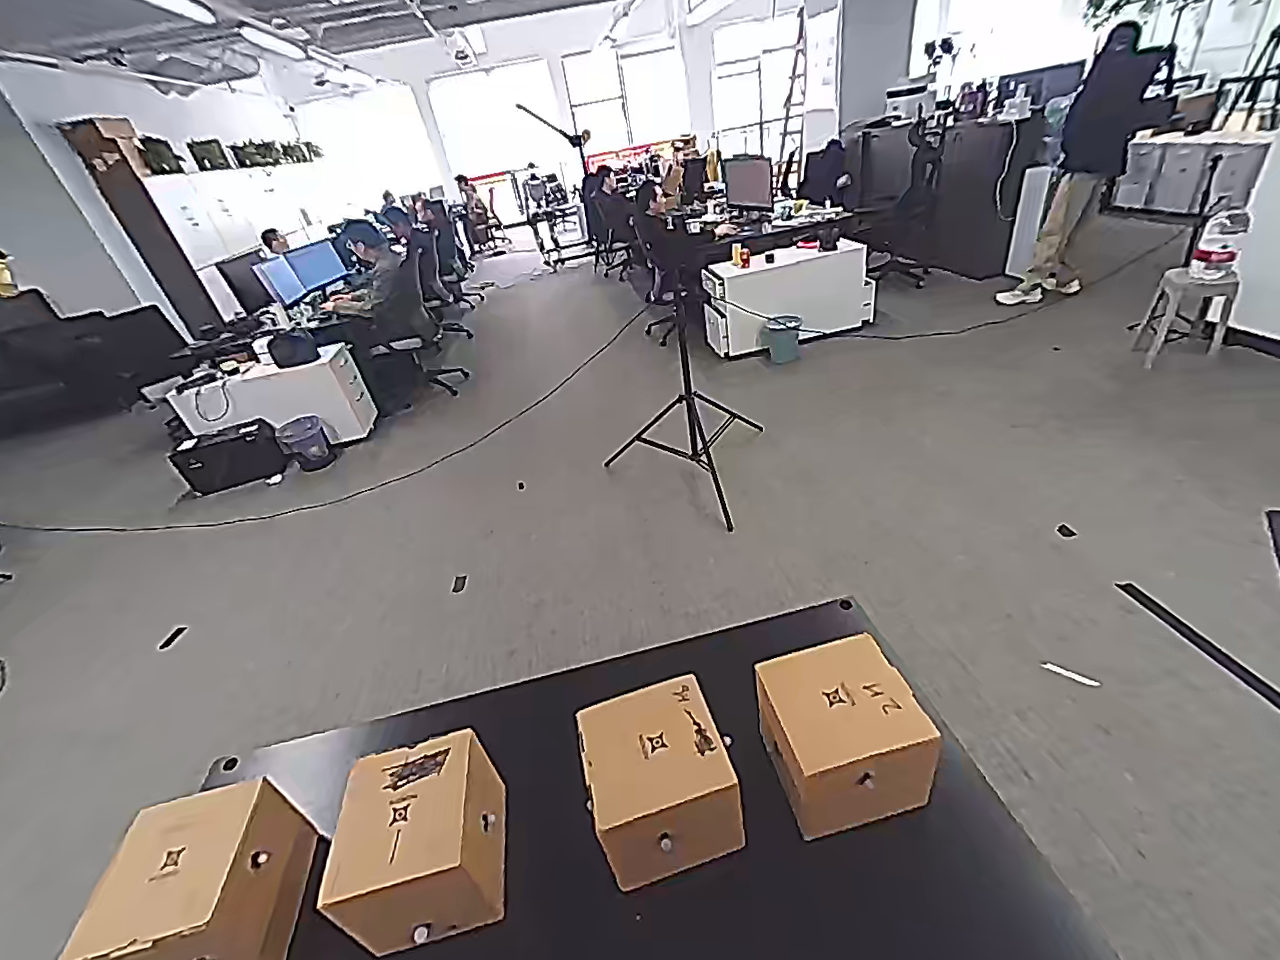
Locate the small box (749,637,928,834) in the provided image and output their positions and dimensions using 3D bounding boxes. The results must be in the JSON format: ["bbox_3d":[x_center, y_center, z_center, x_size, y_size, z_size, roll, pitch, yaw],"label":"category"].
[{"bbox_3d":[0.266,0.354,0.752,0.179,0.176,0.168,-14,33,-4],"label":"small box"}]

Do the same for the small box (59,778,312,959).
[{"bbox_3d":[-0.569,0.541,0.713,0.168,0.176,0.179,-13,32,-6],"label":"small box"}]

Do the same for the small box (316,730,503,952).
[{"bbox_3d":[-0.289,0.479,0.725,0.168,0.176,0.179,-14,34,-4],"label":"small box"}]

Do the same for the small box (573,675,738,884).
[{"bbox_3d":[0.021,0.410,0.742,0.179,0.176,0.168,-16,33,-7],"label":"small box"}]
